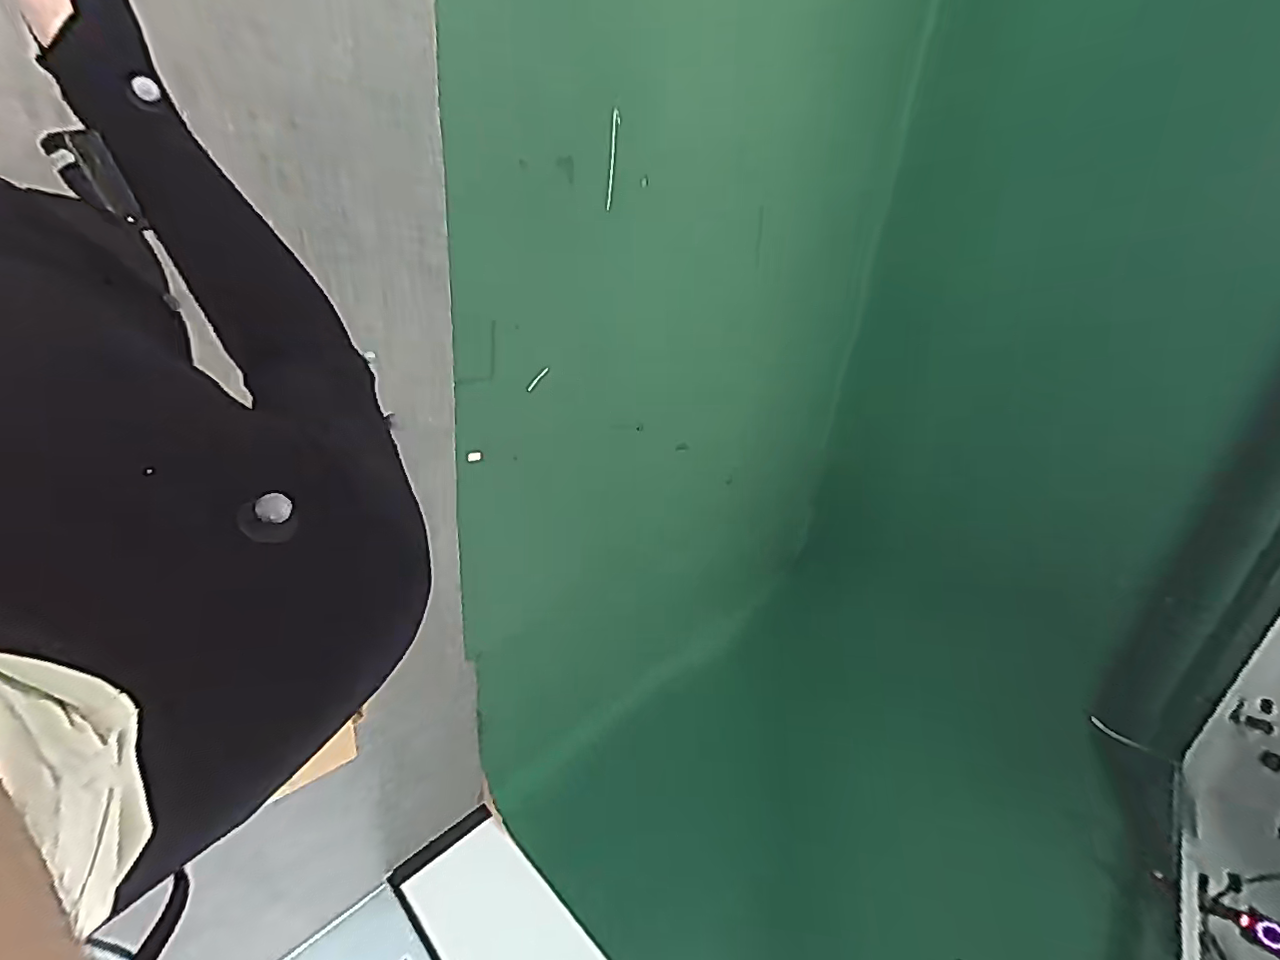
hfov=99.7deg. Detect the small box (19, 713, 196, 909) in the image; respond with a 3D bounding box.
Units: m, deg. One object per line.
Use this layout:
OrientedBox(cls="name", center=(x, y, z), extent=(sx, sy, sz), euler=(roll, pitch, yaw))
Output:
OrientedBox(cls="small box", center=(-0.864, 0.521, 0.882), extent=(0.179, 0.176, 0.168), euler=(-15, 120, -44))
